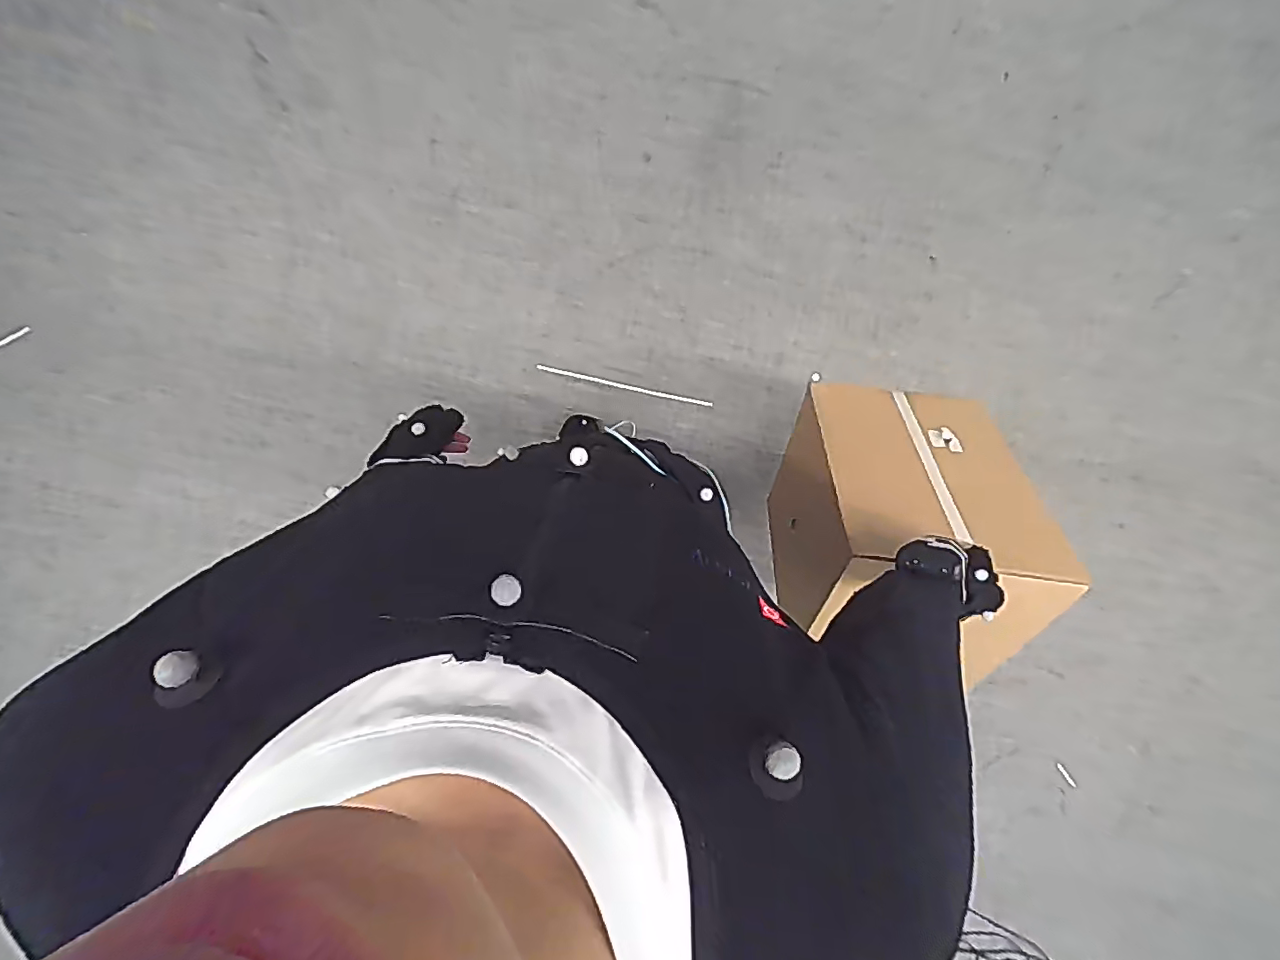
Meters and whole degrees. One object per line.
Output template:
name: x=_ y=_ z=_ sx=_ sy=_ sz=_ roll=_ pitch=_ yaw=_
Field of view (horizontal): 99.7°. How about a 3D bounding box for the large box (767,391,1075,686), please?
large box: x=0.426 y=0.096 z=0.953 sx=0.320 sy=0.408 sz=0.320 roll=8 pitch=133 yaw=-1
